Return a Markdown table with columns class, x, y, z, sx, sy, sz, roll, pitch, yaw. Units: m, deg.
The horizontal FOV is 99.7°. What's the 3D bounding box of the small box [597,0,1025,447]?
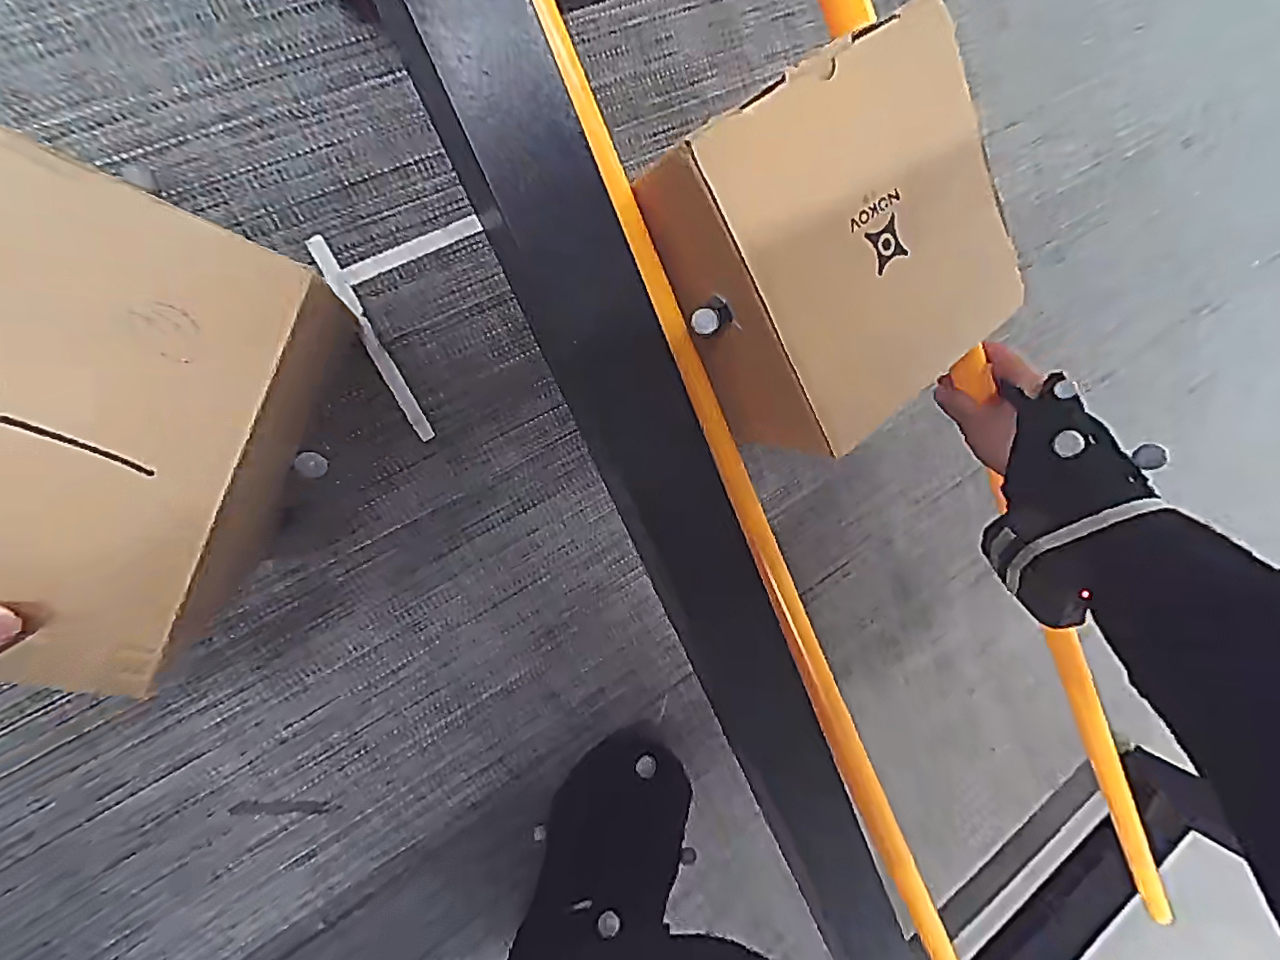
| class | x | y | z | sx | sy | sz | roll | pitch | yaw |
| --- | --- | --- | --- | --- | --- | --- | --- | --- | --- |
| small box | 0.098 | -0.145 | 0.355 | 0.168 | 0.176 | 0.179 | -37 | 110 | -13 |
